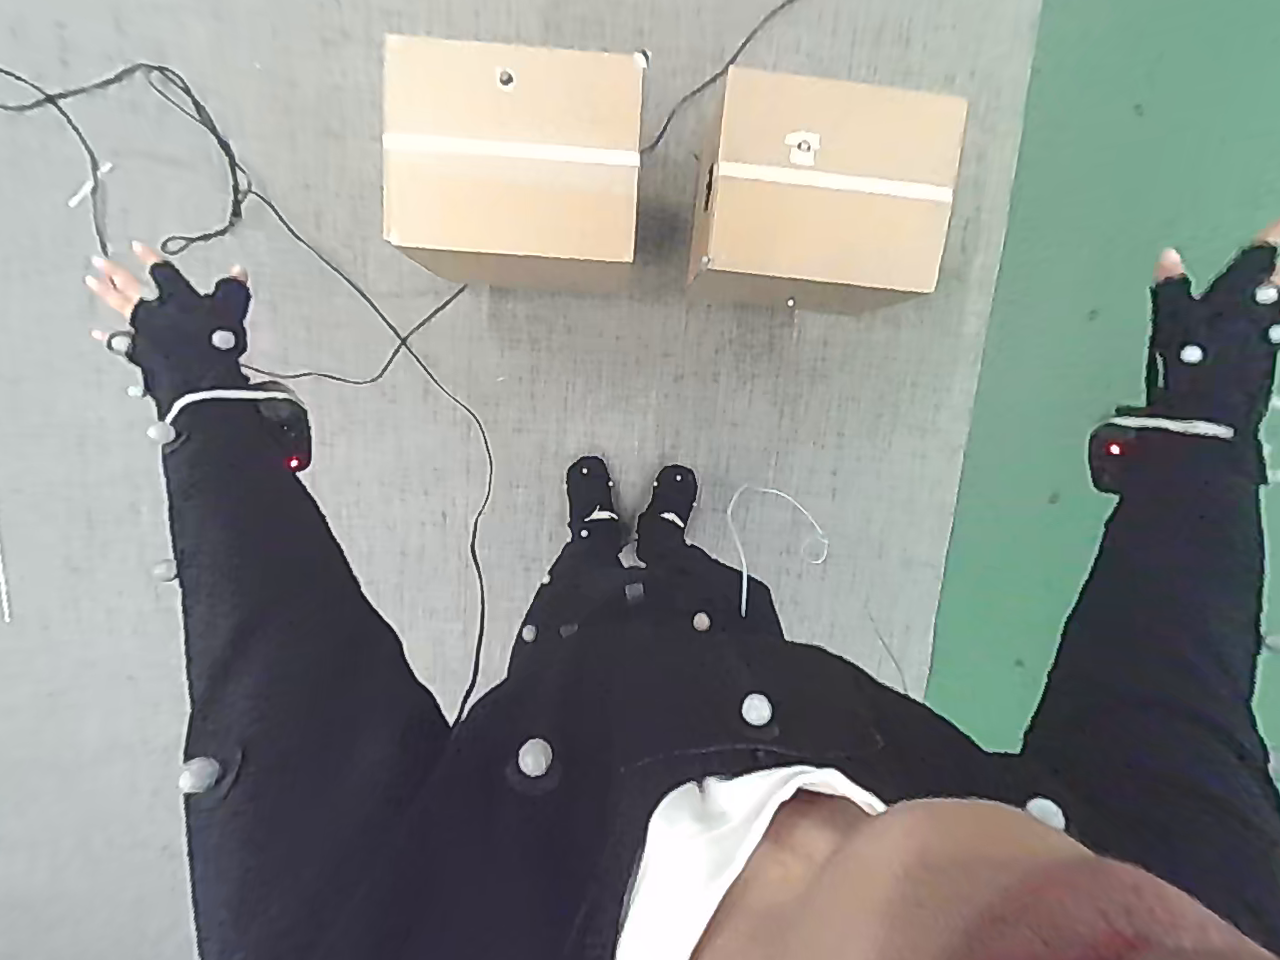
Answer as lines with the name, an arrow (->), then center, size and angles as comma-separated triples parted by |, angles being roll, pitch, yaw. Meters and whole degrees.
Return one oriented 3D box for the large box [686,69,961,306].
large box -> 0.321, -0.533, 1.062 | 0.408, 0.320, 0.320 | 5, 99, -3
